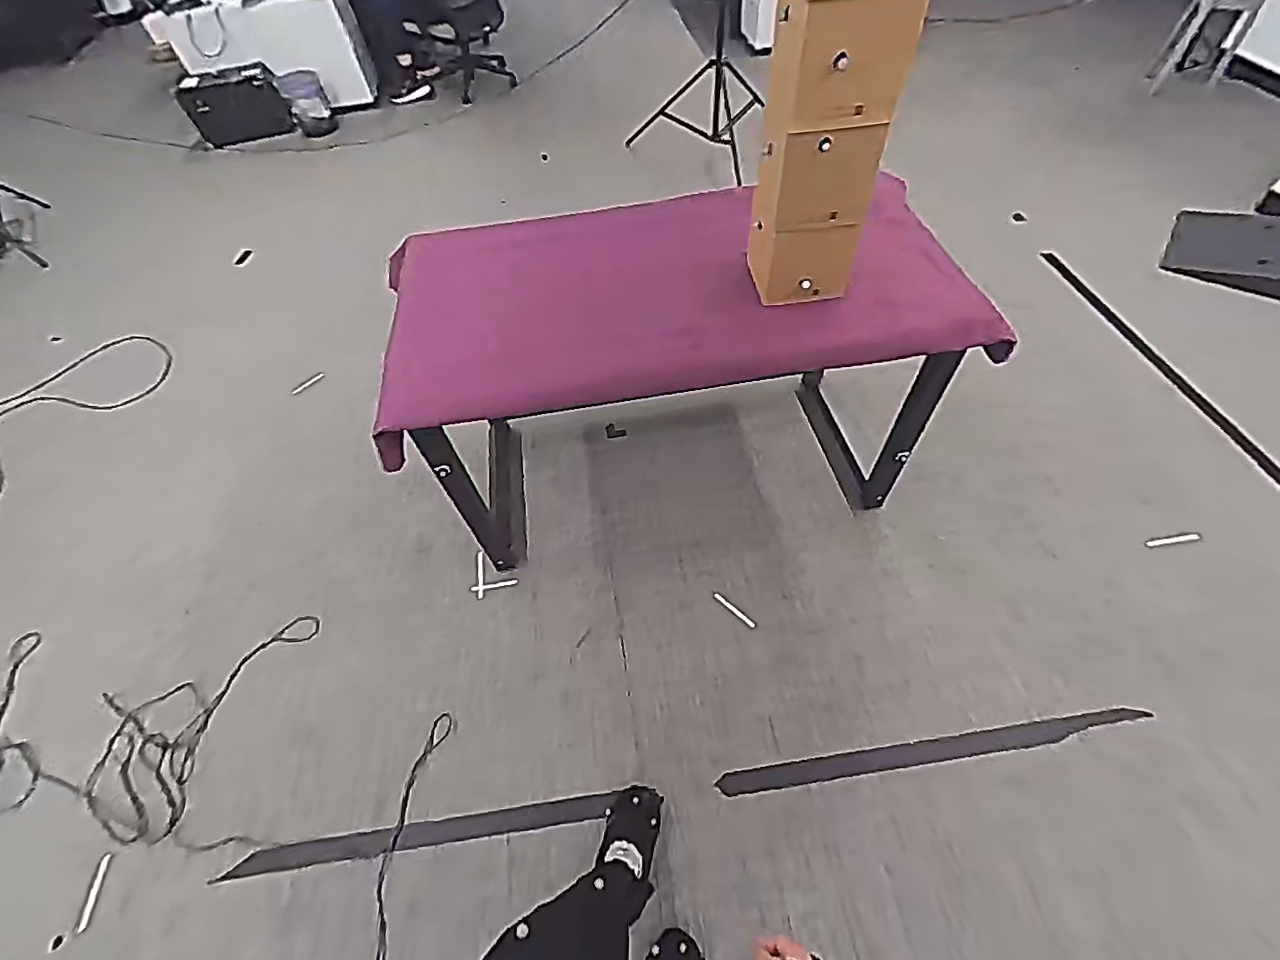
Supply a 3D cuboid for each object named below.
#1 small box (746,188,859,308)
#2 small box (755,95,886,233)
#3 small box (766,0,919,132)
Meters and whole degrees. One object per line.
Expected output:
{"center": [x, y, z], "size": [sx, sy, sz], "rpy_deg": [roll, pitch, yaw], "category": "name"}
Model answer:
{"center": [0.318, -0.478, 1.102], "size": [0.168, 0.176, 0.179], "rpy_deg": [-8, 55, 0], "category": "small box"}
{"center": [0.307, -0.568, 0.965], "size": [0.168, 0.176, 0.179], "rpy_deg": [-6, 54, 2], "category": "small box"}
{"center": [0.297, -0.656, 0.828], "size": [0.168, 0.176, 0.179], "rpy_deg": [-6, 54, 1], "category": "small box"}
